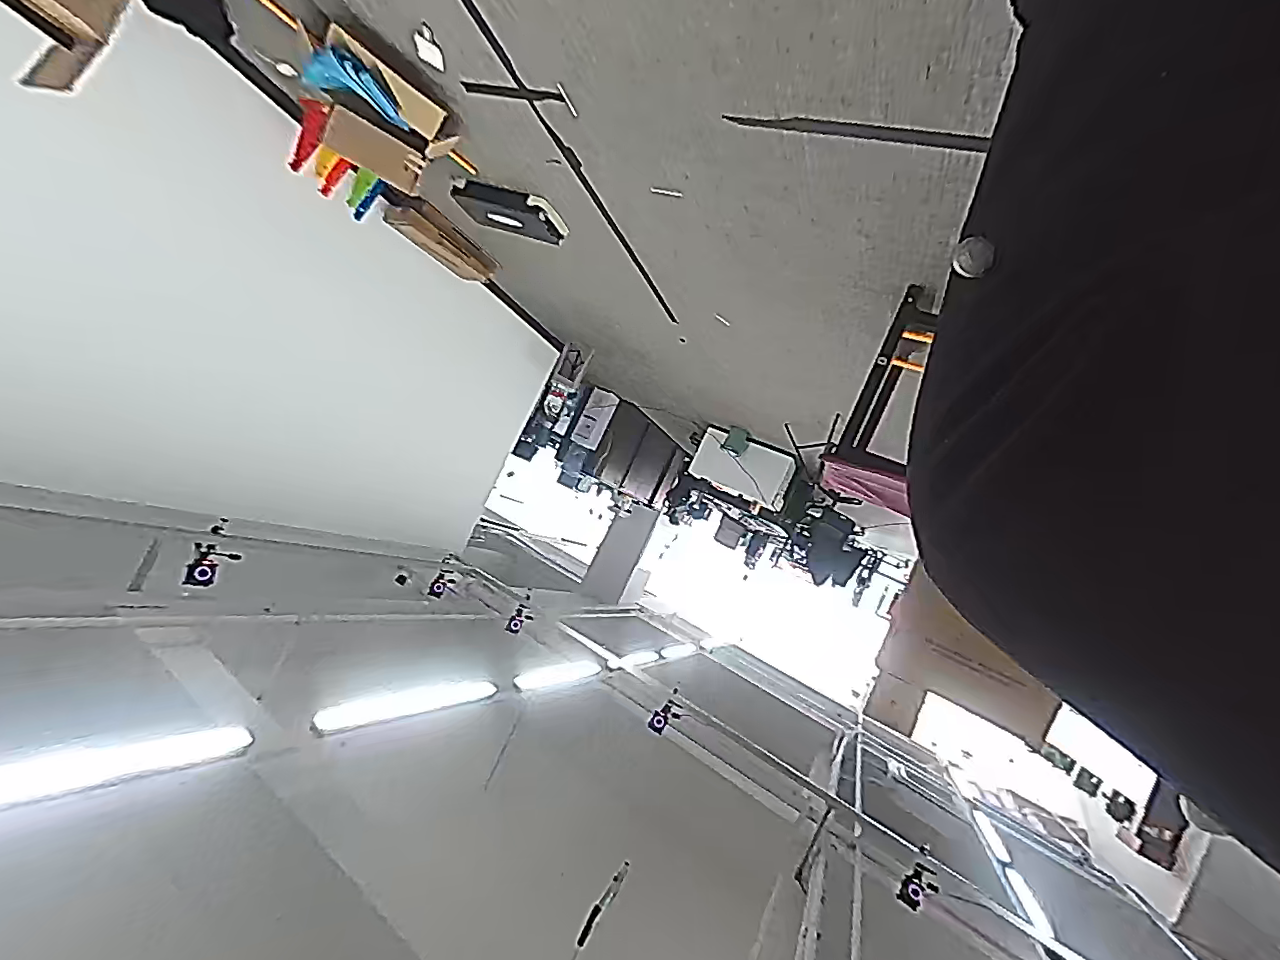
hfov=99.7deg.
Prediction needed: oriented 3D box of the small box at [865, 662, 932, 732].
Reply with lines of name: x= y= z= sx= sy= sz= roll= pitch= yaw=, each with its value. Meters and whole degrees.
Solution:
small box: x=0.914 y=0.769 z=1.921 sx=0.168 sy=0.176 sz=0.179 roll=24 pitch=176 yaw=24

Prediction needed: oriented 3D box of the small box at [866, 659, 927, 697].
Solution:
small box: x=1.001 y=0.818 z=2.111 sx=0.168 sy=0.176 sz=0.179 roll=23 pitch=177 yaw=25
